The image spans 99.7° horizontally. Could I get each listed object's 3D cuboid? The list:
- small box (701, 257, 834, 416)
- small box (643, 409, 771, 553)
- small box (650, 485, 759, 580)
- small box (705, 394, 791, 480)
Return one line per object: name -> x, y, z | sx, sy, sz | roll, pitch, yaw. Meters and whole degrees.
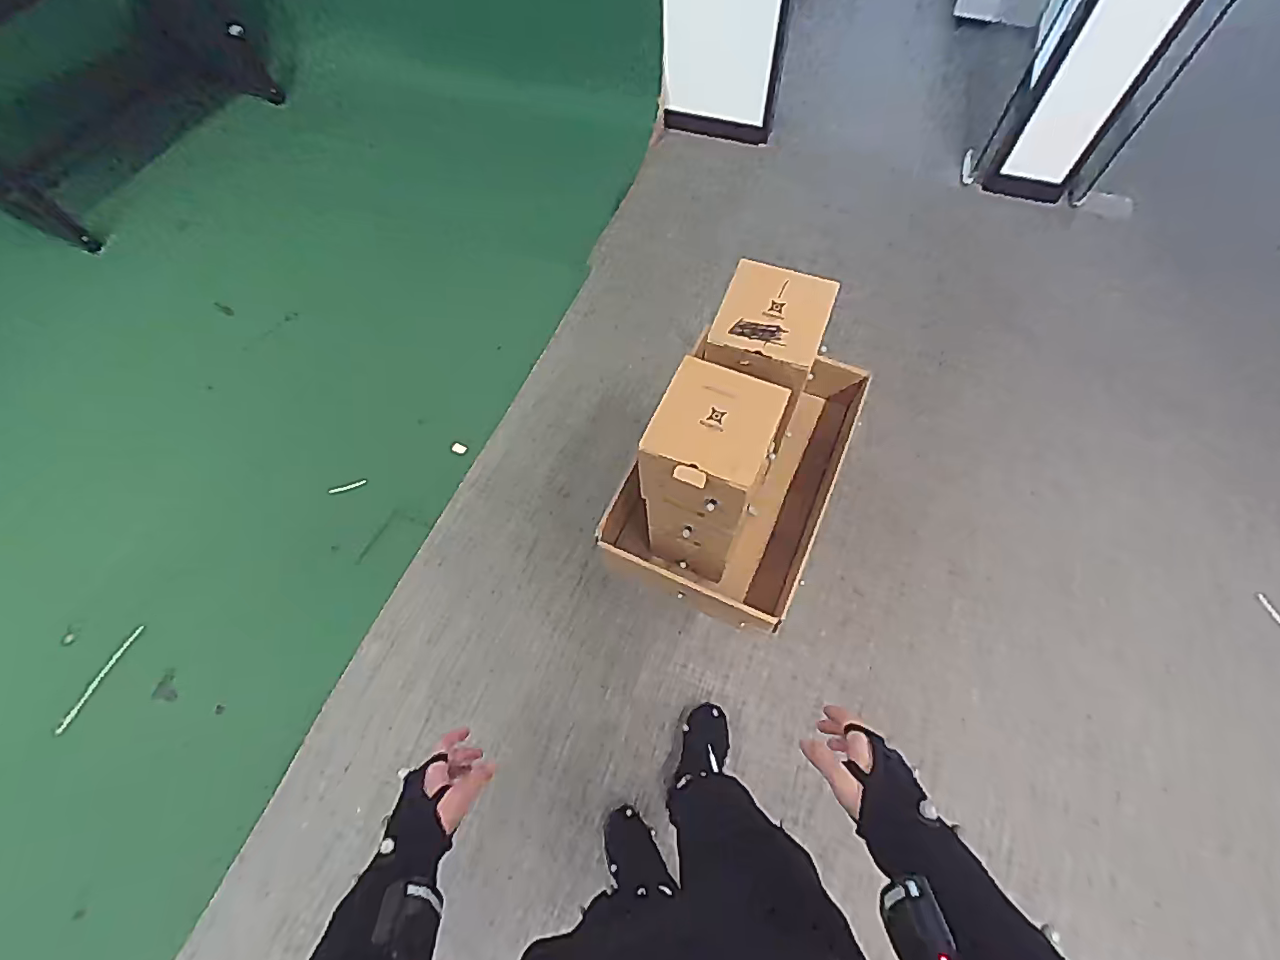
small box -> 0.207, -0.234, 0.911 | 0.168, 0.176, 0.179 | 18, 69, 12
small box -> 0.120, 0.009, 0.976 | 0.168, 0.176, 0.179 | 23, 68, 13
small box -> 0.130, 0.080, 1.123 | 0.168, 0.176, 0.179 | 22, 67, 14
small box -> 0.239, -0.126, 1.221 | 0.168, 0.176, 0.179 | 21, 71, 13
